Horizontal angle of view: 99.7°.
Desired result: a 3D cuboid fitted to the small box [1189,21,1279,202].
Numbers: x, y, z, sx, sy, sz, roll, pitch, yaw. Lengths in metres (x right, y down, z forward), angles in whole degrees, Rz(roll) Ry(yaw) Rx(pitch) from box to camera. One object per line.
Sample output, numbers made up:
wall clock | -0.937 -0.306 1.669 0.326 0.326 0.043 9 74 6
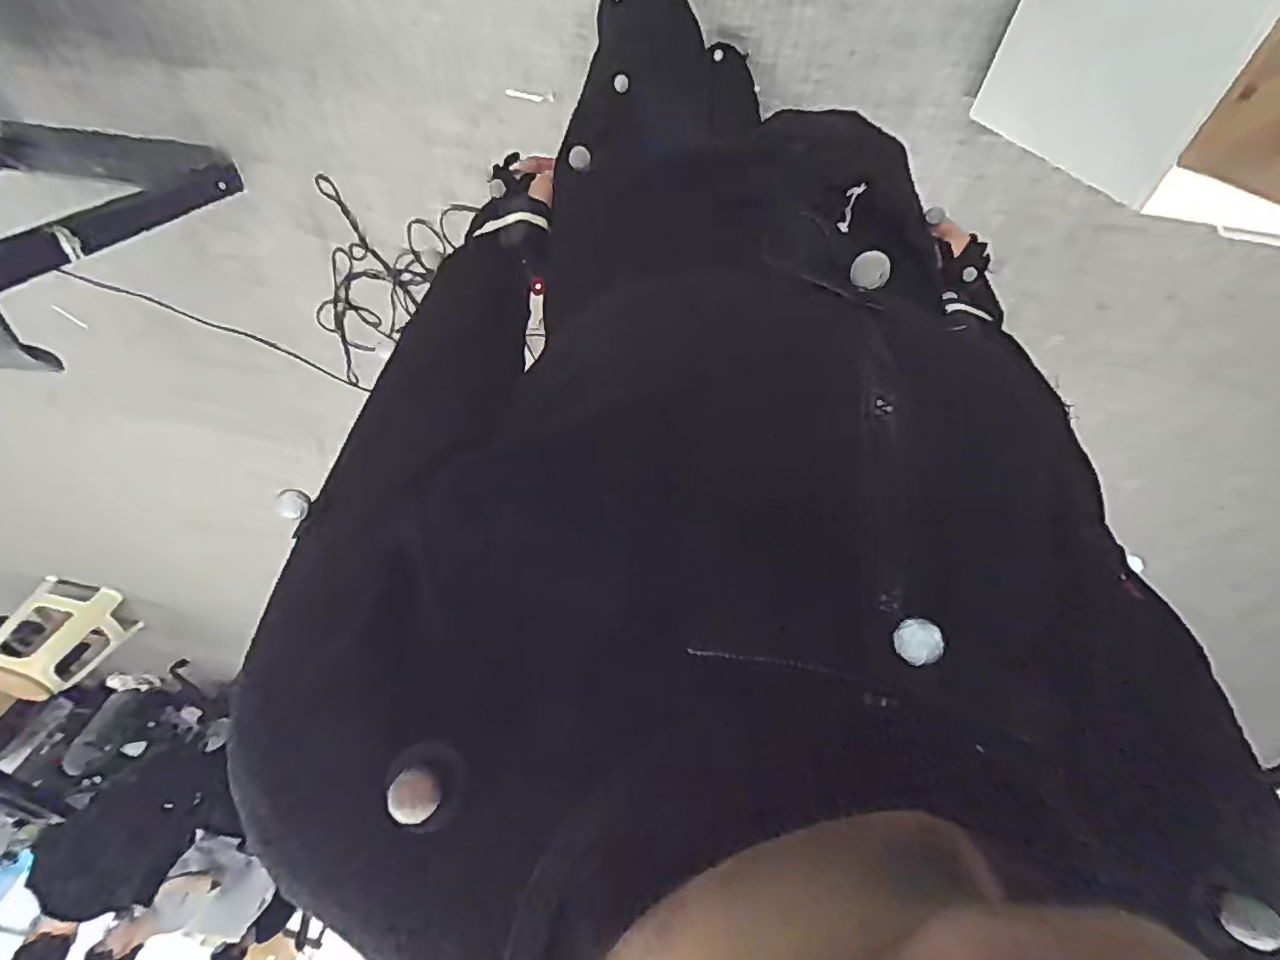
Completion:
small box | 0.596 -0.292 0.399 0.179 0.176 0.168 10 133 1
